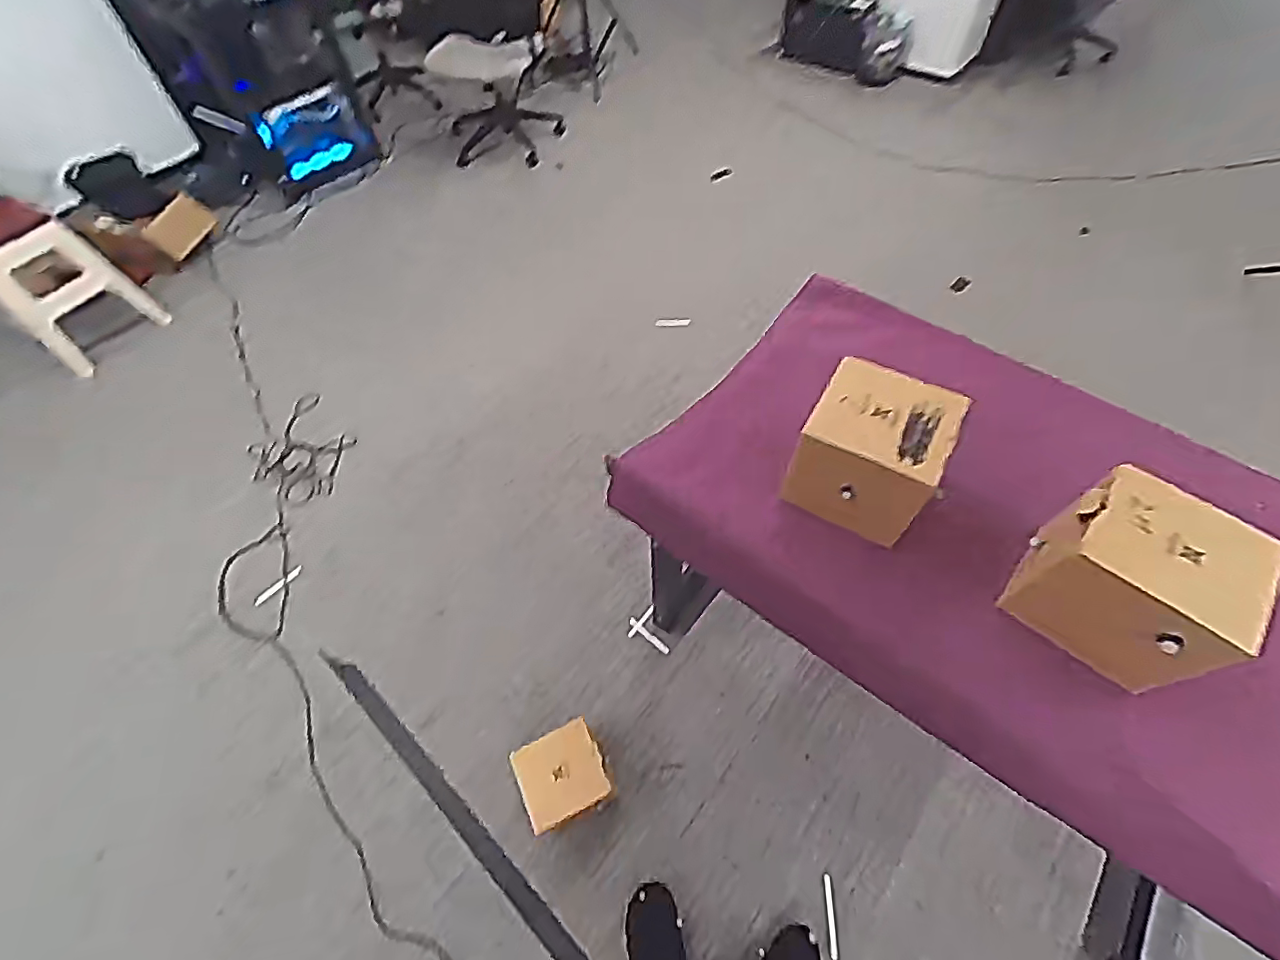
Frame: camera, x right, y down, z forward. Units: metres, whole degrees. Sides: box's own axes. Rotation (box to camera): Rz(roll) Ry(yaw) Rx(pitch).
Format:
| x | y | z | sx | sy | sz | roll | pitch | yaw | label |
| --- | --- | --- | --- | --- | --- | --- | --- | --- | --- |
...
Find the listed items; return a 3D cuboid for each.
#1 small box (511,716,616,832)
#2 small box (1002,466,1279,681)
| x | y | z | sx | sy | sz | roll | pitch | yaw | label |
| --- | --- | --- | --- | --- | --- | --- | --- | --- | --- |
| -0.164 | 0.664 | 1.213 | 0.179 | 0.176 | 0.168 | -23 | 59 | -14 | small box |
| 0.602 | 0.122 | 0.665 | 0.179 | 0.176 | 0.168 | 37 | 64 | 24 | small box |
